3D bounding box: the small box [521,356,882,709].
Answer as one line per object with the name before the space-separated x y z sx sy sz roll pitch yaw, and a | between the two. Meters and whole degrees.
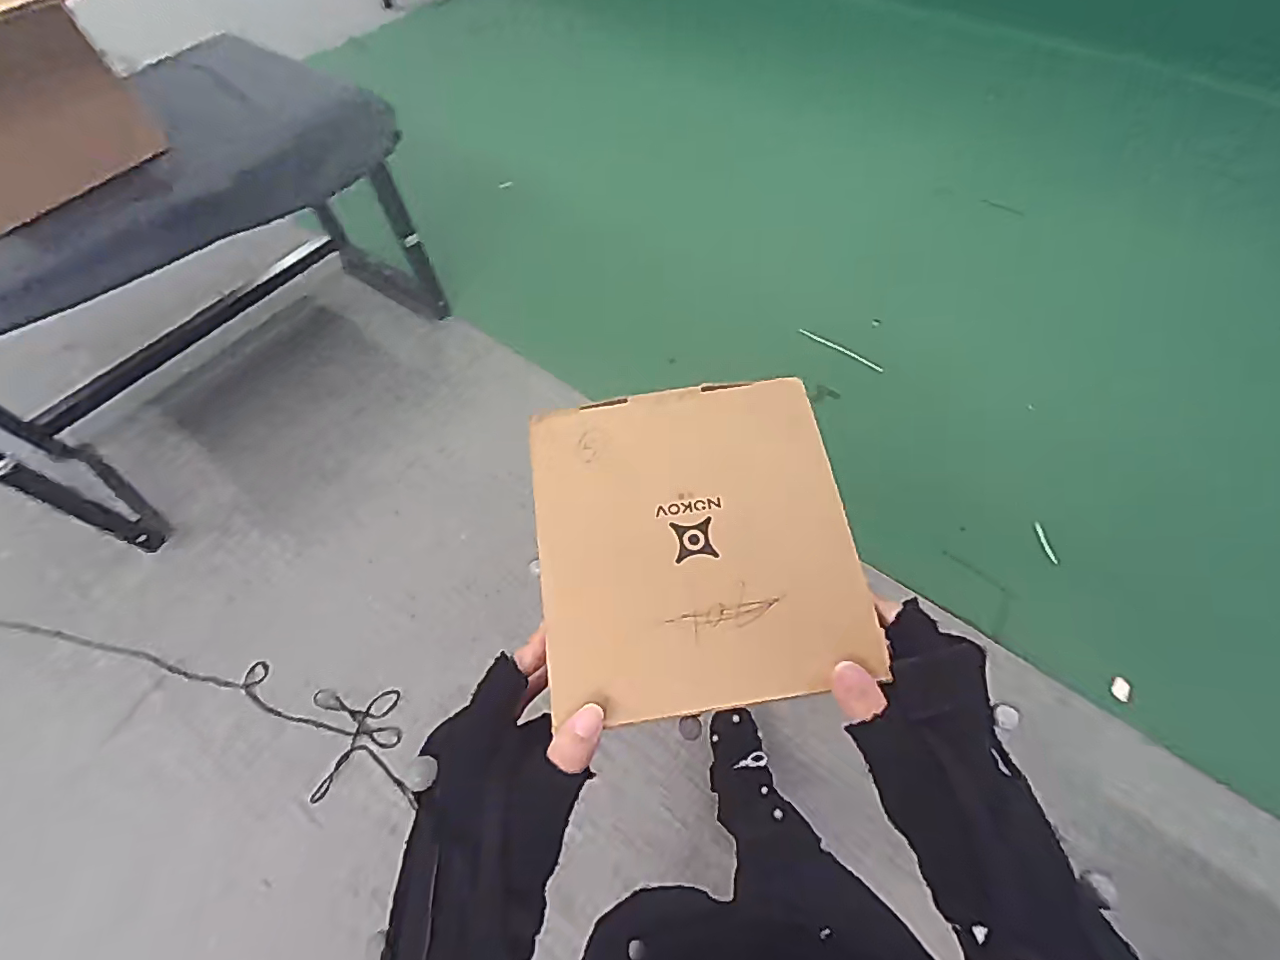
small box | 0.023 0.047 0.357 0.168 0.176 0.179 -9 67 -2
